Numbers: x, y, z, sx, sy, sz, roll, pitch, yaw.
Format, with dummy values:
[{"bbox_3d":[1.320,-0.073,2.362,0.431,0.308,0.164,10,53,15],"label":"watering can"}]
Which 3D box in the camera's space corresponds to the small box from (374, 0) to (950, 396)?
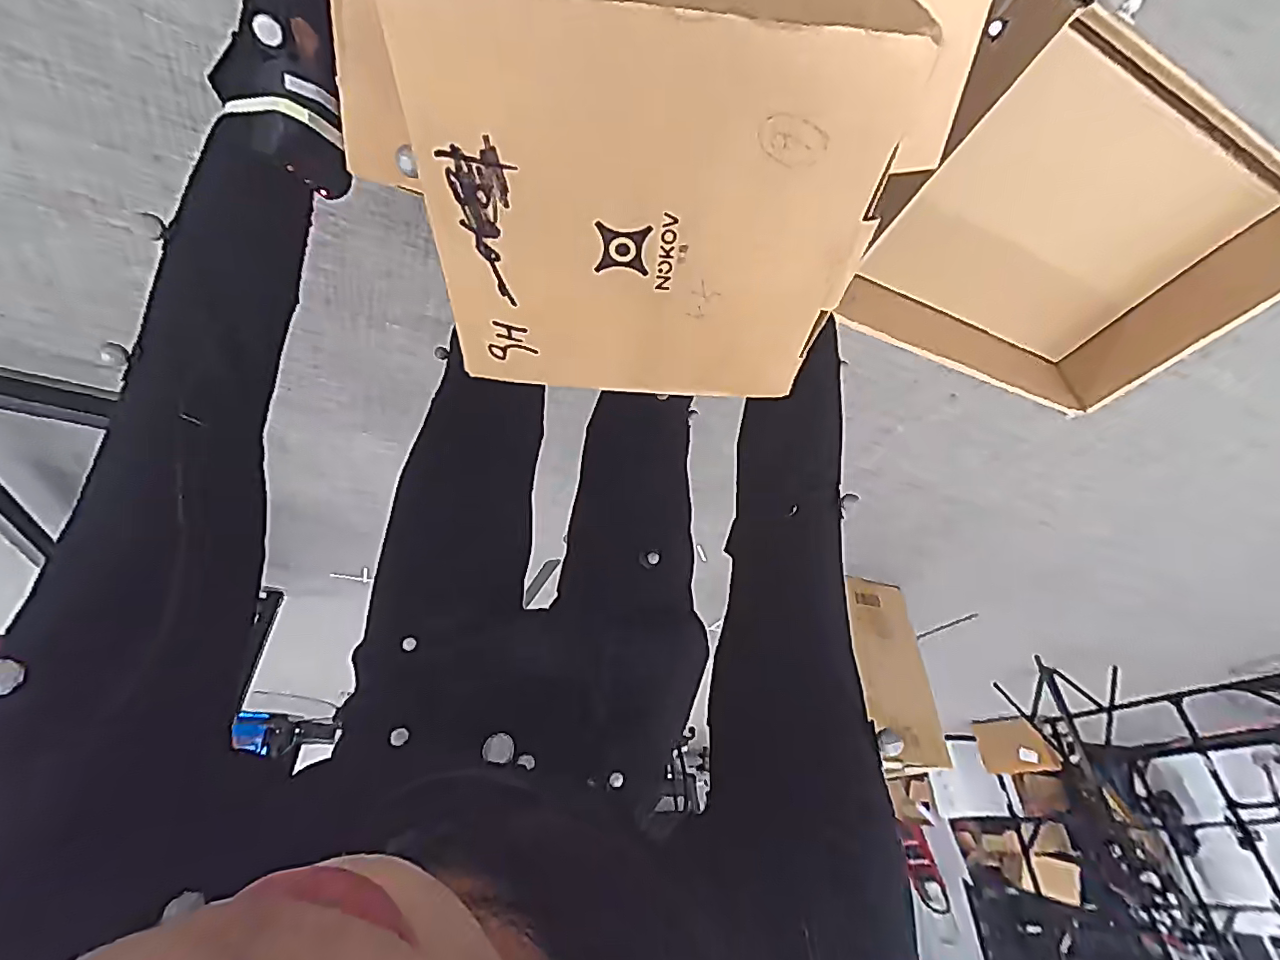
[{"bbox_3d":[0.002,-0.162,0.266,0.179,0.176,0.168,3,145,-4],"label":"small box"}]
